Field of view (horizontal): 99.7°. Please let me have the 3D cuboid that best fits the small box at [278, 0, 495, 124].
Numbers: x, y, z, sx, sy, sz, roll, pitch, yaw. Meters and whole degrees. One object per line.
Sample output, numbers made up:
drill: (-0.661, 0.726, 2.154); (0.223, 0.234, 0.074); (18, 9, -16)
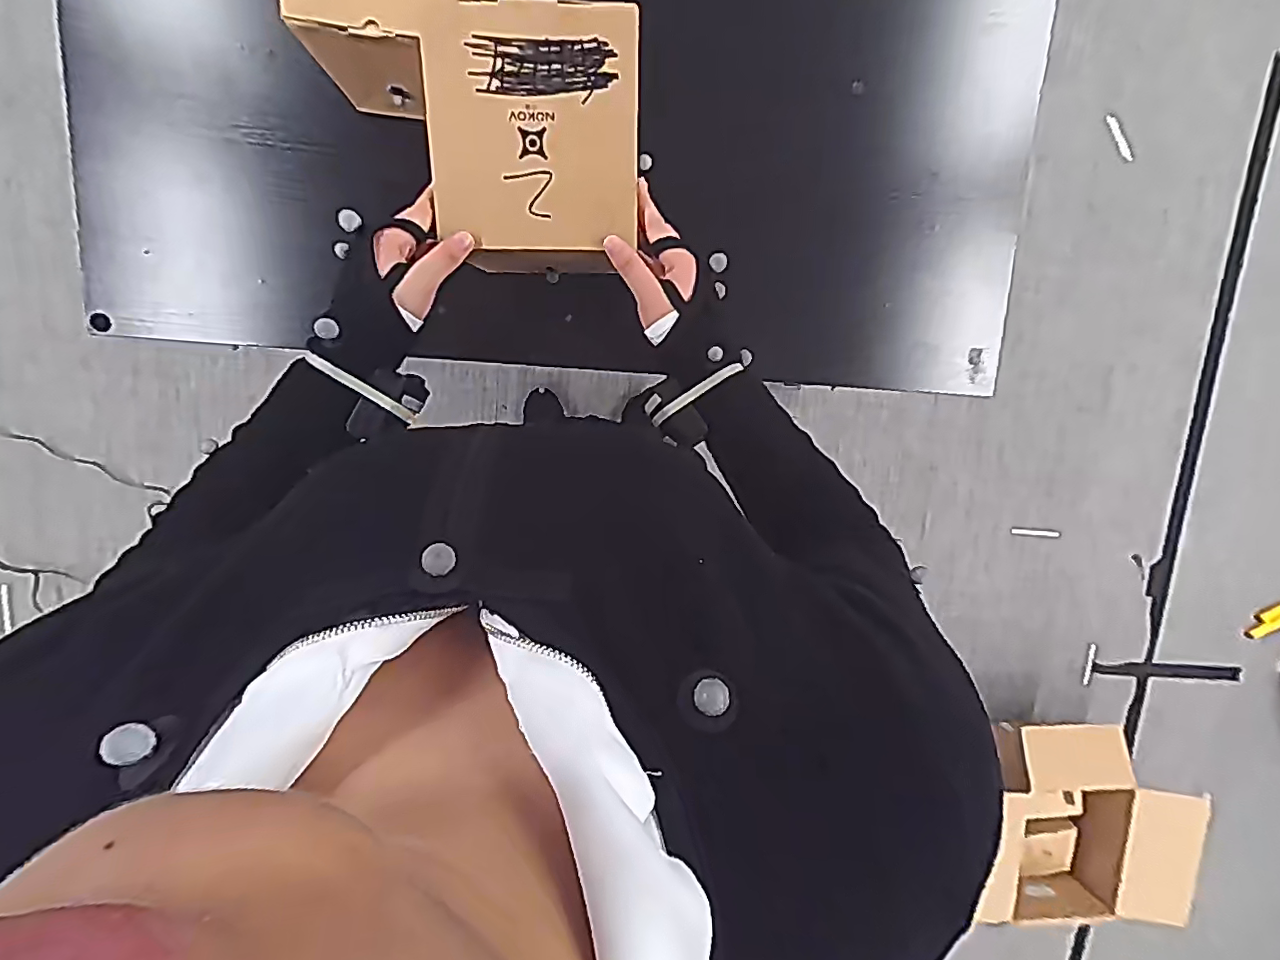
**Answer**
small box: (-0.254, -0.523, 0.577); (0.168, 0.176, 0.179); (4, 99, -5)
